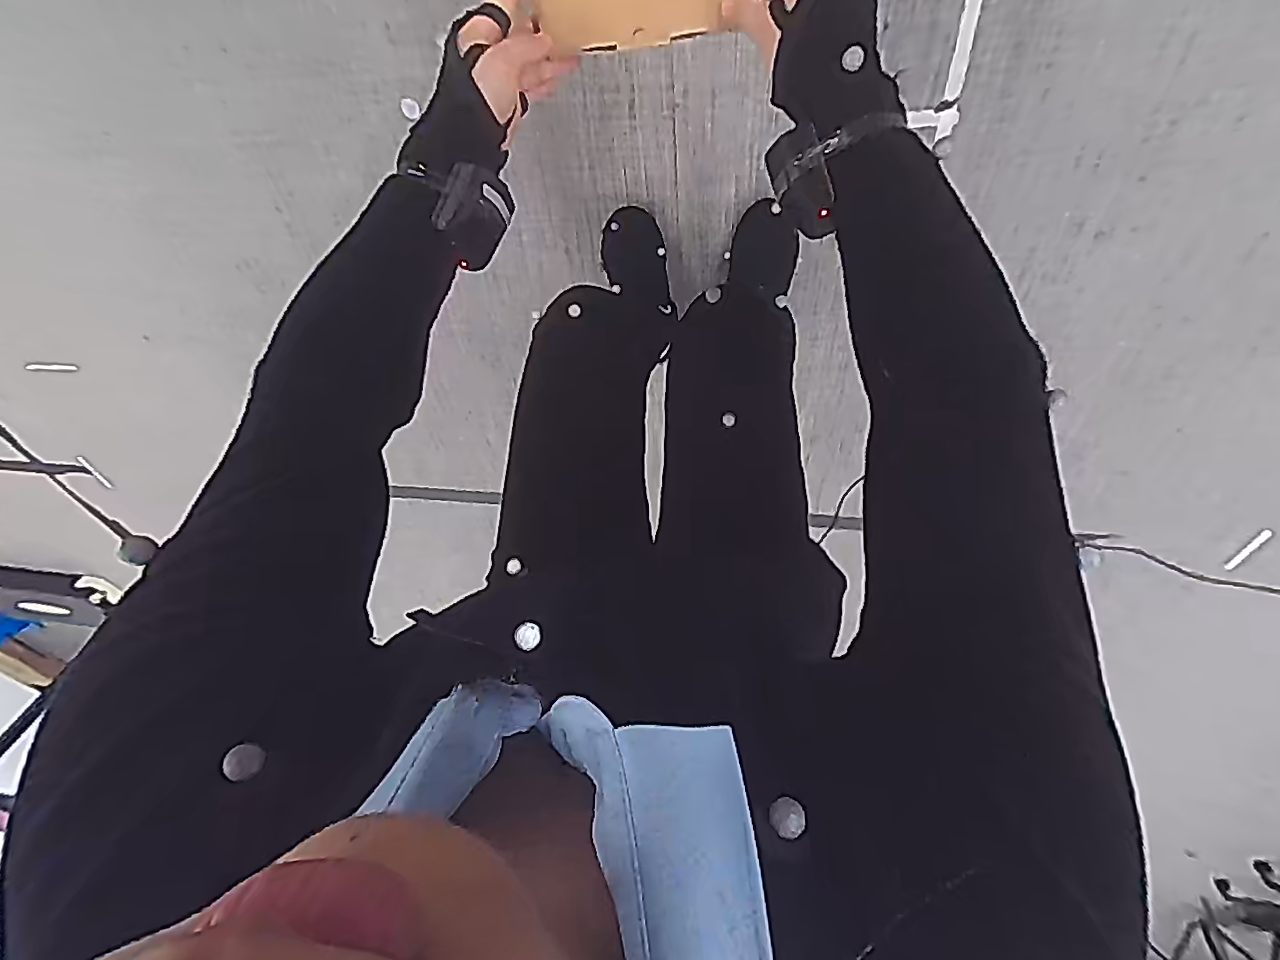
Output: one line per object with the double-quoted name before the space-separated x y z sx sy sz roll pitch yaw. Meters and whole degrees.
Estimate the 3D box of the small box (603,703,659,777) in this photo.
"small box" -0.025 0.885 1.841 0.168 0.176 0.179 4 134 6
